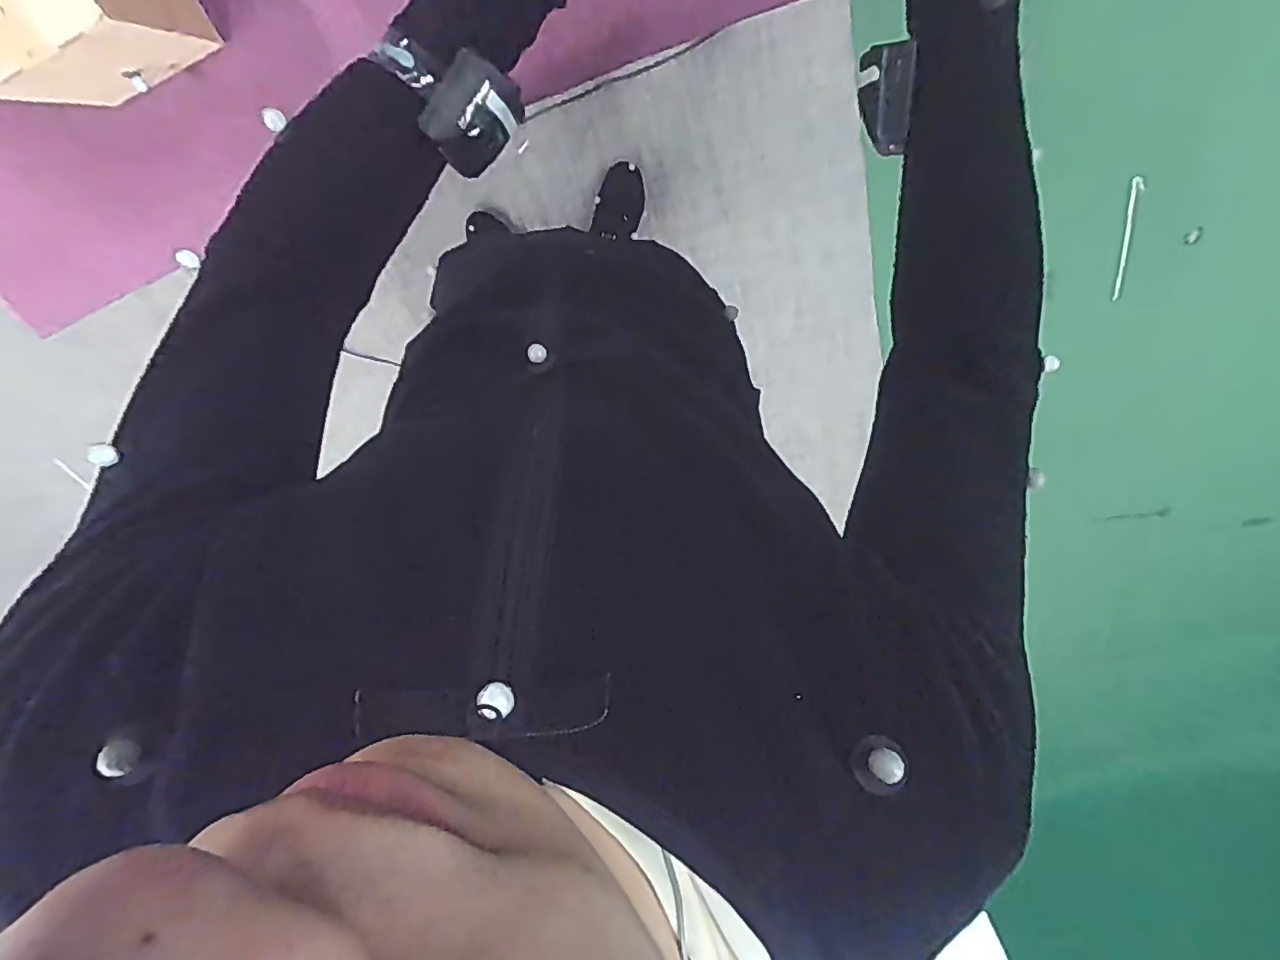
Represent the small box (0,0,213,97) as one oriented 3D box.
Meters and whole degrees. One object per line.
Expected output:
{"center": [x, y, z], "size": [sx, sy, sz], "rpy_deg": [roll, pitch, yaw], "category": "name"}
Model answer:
{"center": [-0.572, -0.491, 0.506], "size": [0.168, 0.176, 0.179], "rpy_deg": [-18, 122, 10], "category": "small box"}
